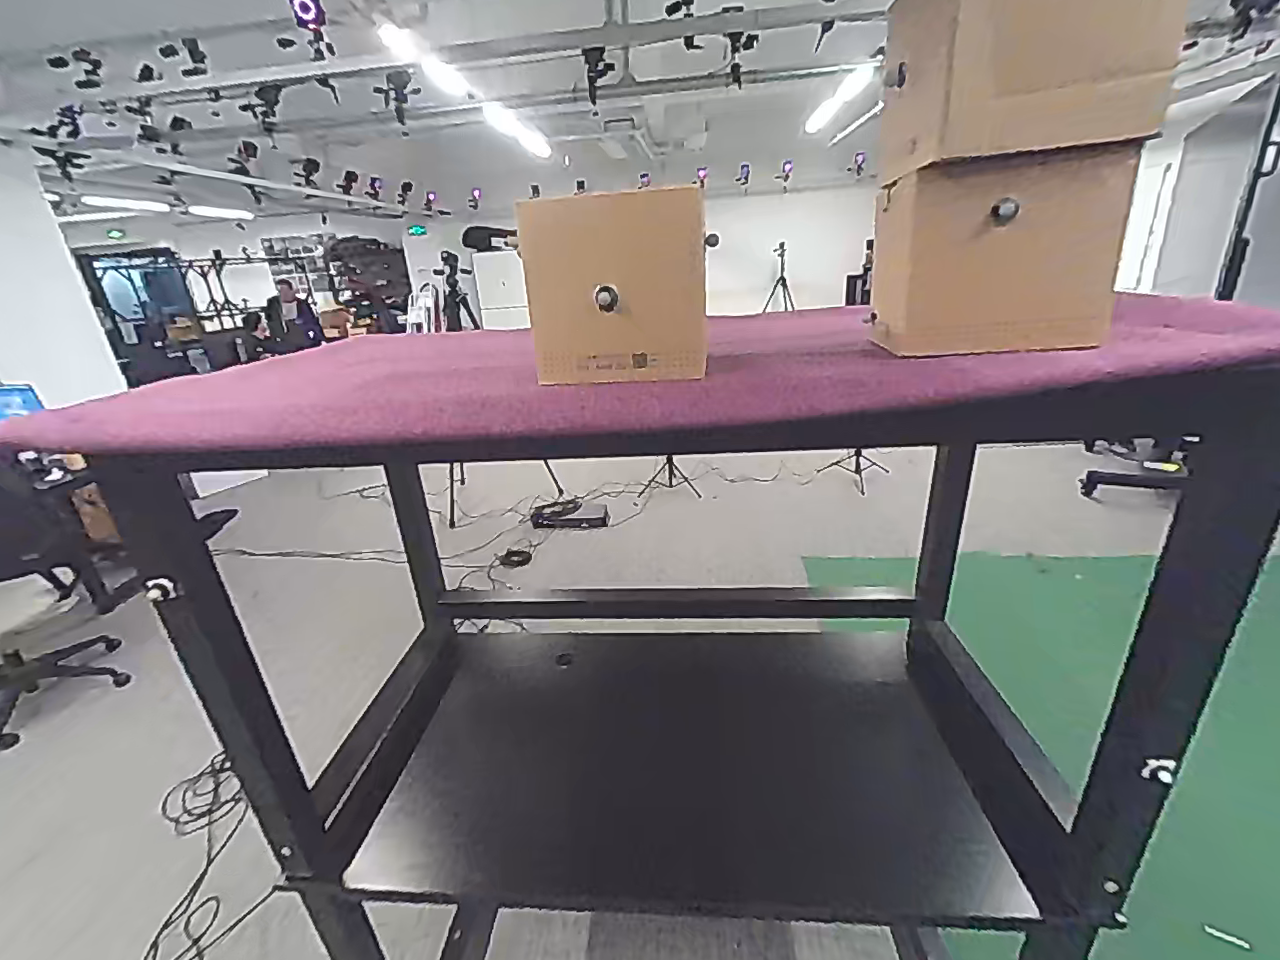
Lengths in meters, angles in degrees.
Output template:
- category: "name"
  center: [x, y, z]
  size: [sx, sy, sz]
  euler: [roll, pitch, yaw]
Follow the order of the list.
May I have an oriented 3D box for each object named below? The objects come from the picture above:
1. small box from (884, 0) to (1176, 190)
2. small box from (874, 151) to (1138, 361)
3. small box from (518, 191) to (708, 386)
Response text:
- category: "small box"
  center: [0.334, -0.365, 0.490]
  size: [0.179, 0.176, 0.168]
  euler: [-2, 21, 8]
- category: "small box"
  center: [0.350, -0.219, 0.561]
  size: [0.179, 0.176, 0.168]
  euler: [0, 21, 11]
- category: "small box"
  center: [-0.013, -0.197, 0.573]
  size: [0.168, 0.176, 0.179]
  euler: [0, 22, 8]
